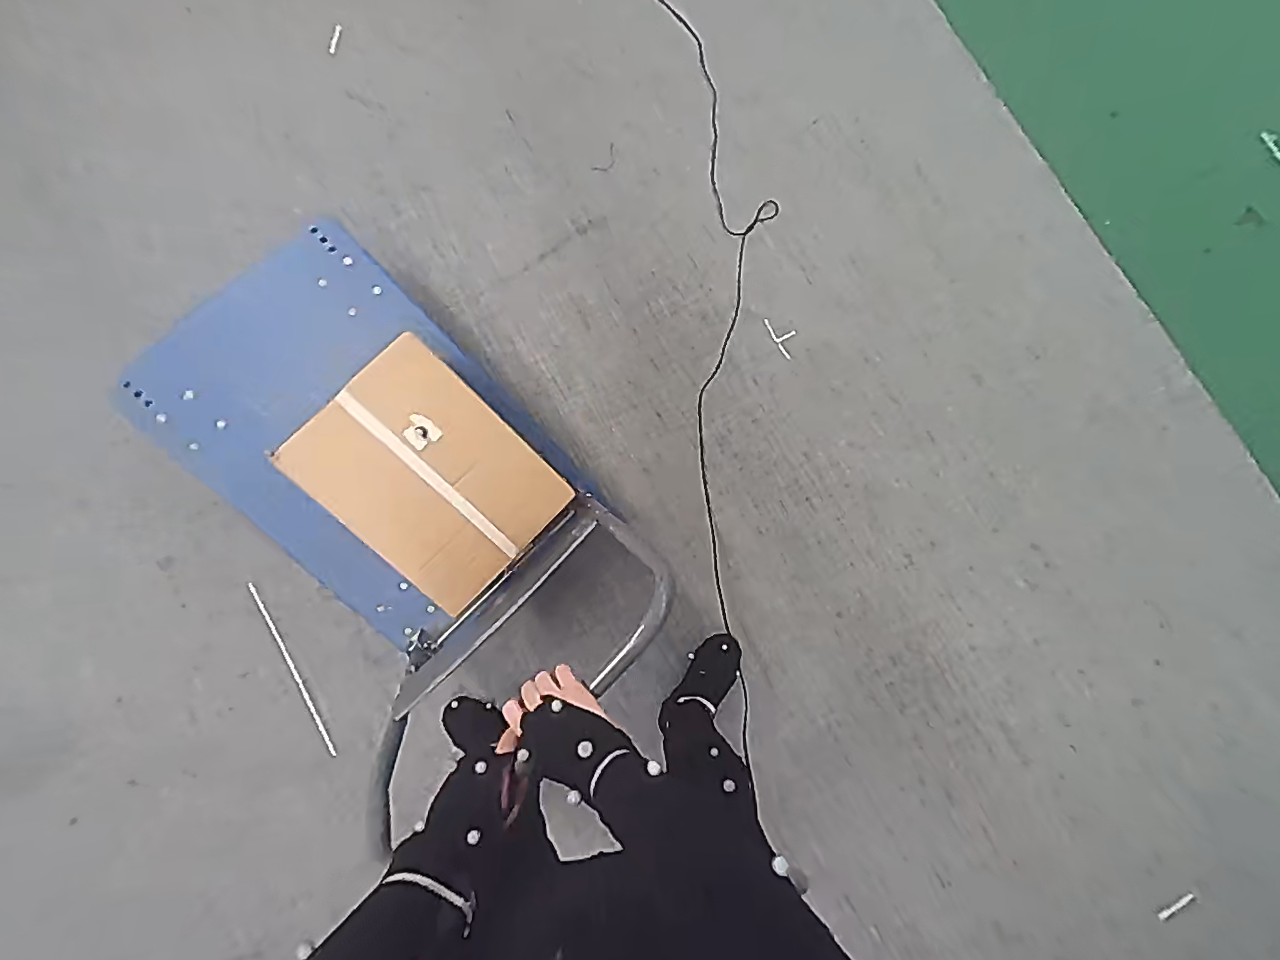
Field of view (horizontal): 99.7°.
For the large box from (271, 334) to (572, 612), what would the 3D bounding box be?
[{"bbox_3d":[-0.391,-0.015,1.078,0.408,0.320,0.320,45,83,-11],"label":"large box"}]
